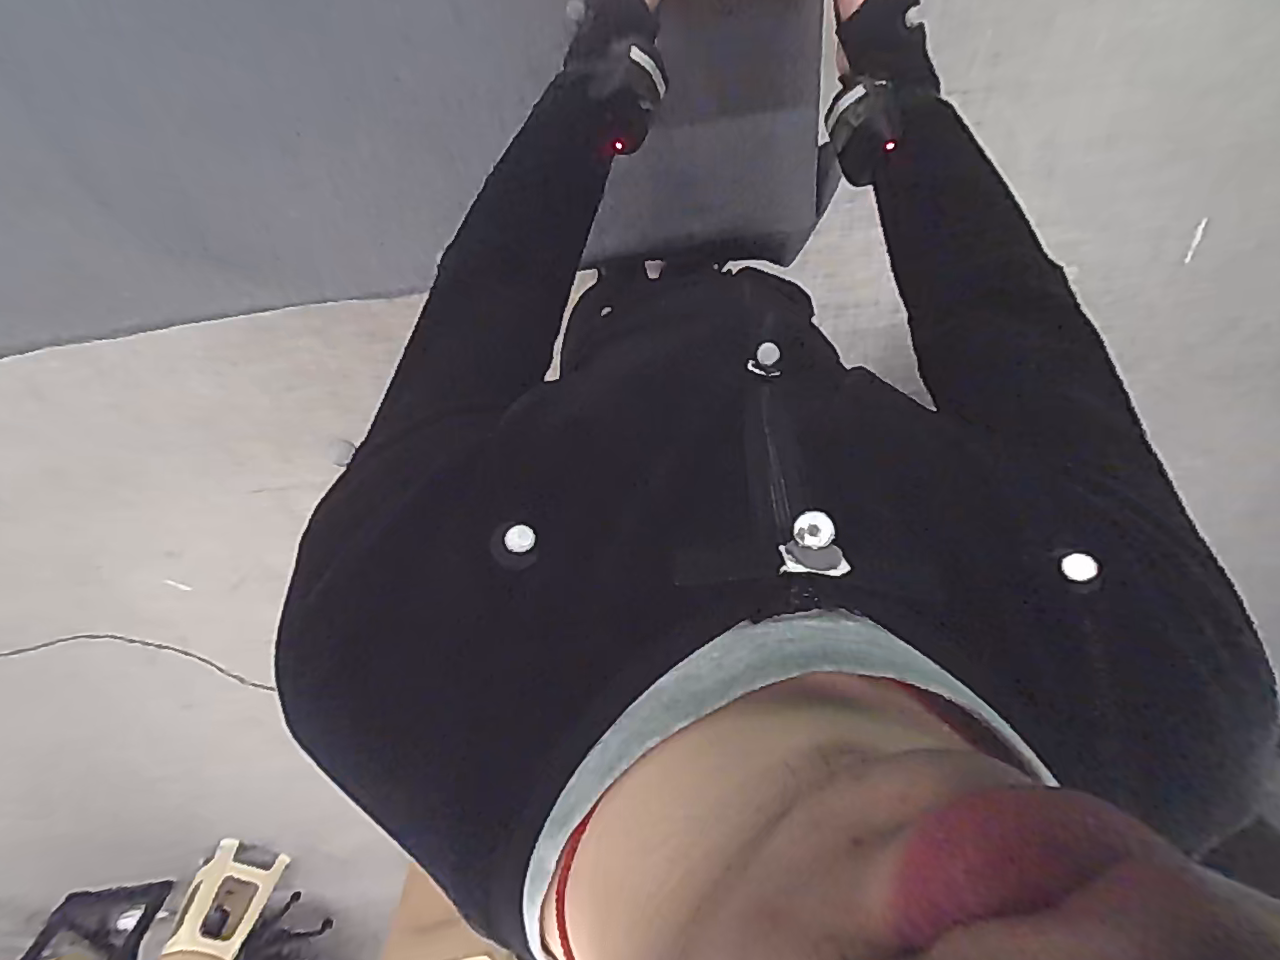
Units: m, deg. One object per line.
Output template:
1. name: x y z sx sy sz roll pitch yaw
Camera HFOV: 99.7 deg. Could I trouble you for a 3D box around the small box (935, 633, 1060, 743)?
1. small box: 0.828 0.486 1.277 0.168 0.176 0.179 -7 121 -2
